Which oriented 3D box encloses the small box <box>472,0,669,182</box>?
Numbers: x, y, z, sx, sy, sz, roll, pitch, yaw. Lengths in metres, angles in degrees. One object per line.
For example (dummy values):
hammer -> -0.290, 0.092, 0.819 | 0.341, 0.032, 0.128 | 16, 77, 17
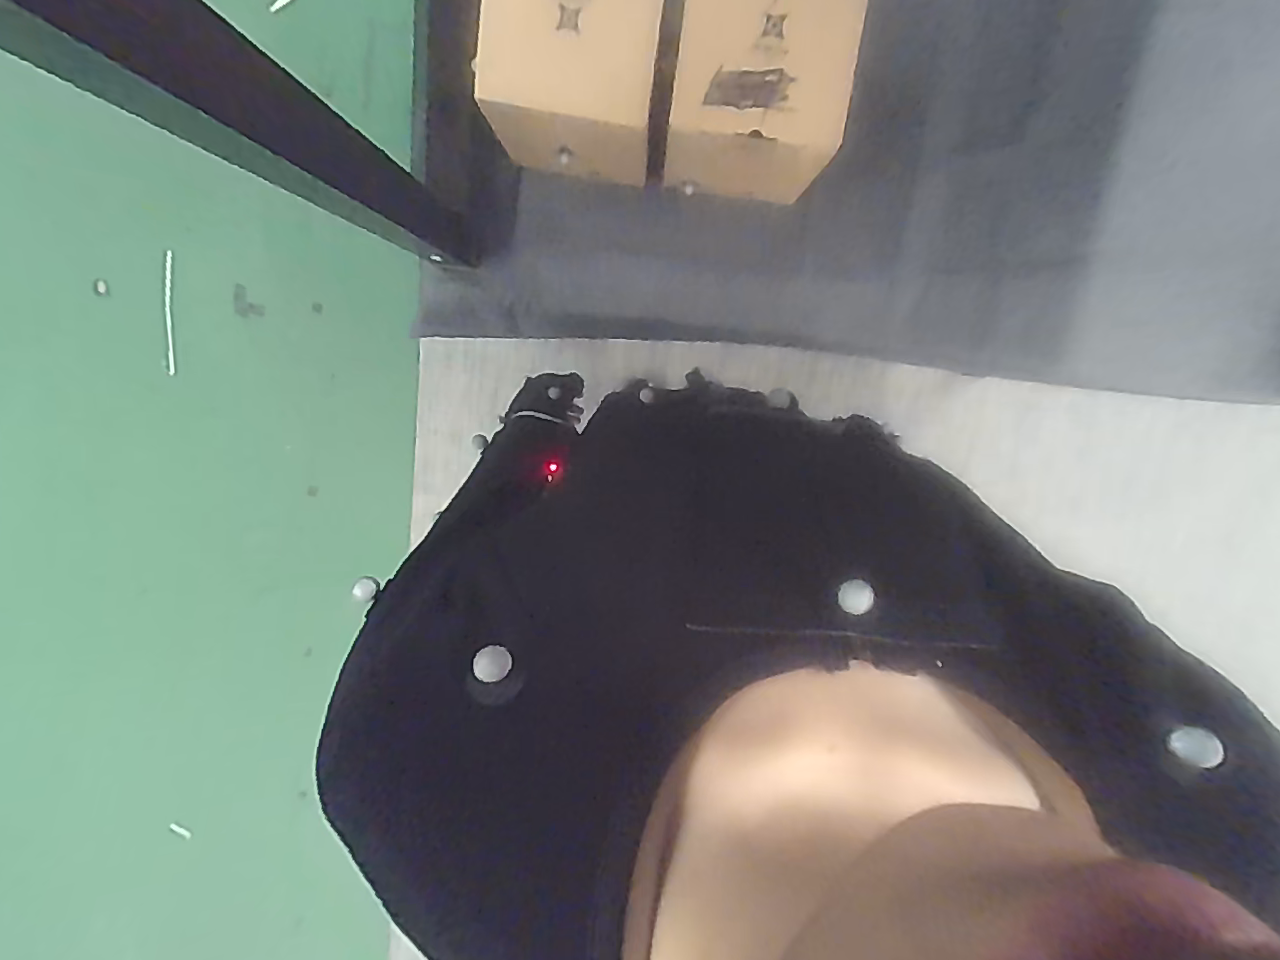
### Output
small box -> -0.062, -0.439, 0.565 | 0.168, 0.176, 0.179 | 9, 101, -3
